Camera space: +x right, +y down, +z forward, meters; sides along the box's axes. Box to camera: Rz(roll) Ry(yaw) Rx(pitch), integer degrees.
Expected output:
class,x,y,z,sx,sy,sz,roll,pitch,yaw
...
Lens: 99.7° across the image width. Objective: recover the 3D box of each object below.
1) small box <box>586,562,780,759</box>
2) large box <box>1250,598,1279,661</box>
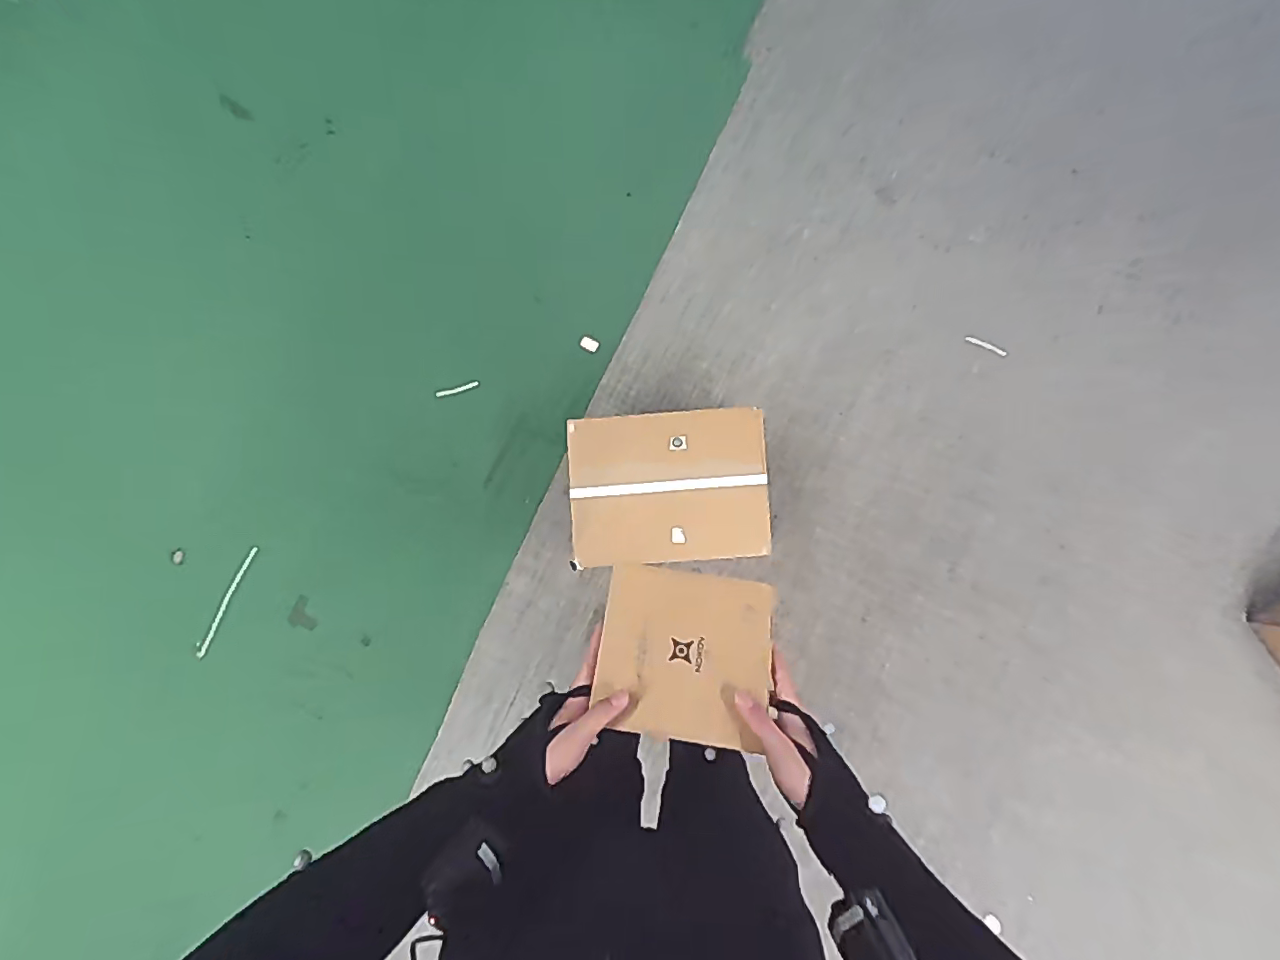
class,x,y,z,sx,sy,sz,roll,pitch,yaw
small box,0.047,0.204,0.607,0.179,0.176,0.168,8,66,4
large box,1.733,0.412,1.173,0.320,0.320,0.408,-34,84,-2
